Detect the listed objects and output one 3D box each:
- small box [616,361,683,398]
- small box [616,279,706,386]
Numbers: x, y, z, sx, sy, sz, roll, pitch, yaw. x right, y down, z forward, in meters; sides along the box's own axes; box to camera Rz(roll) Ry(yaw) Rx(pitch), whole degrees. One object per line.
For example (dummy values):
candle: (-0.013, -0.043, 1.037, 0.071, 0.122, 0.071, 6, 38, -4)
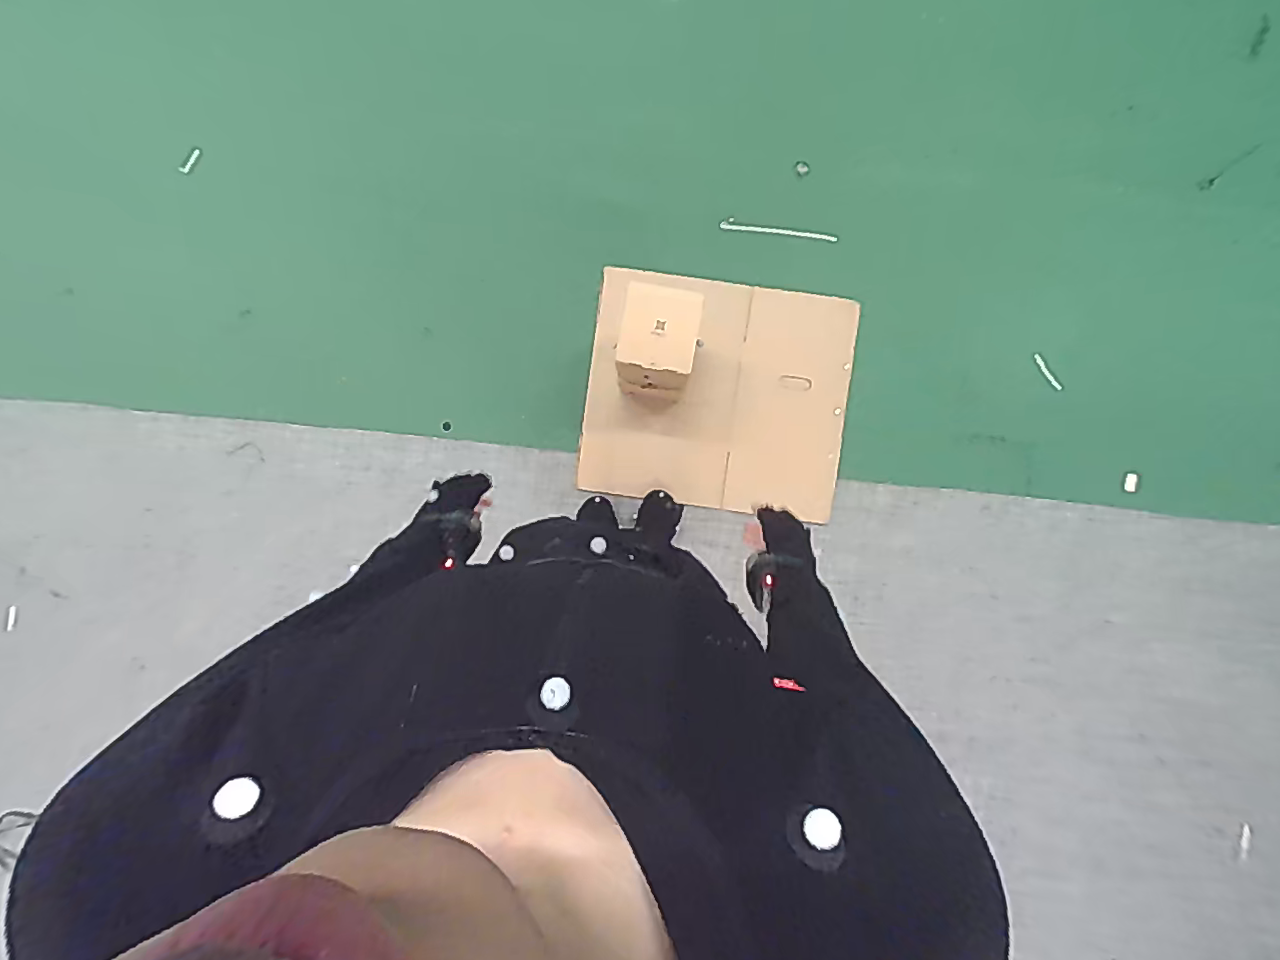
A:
small box: (0.038, -0.312, 1.370, 0.168, 0.176, 0.179, 9, 90, 1)
small box: (0.043, -0.321, 1.208, 0.168, 0.176, 0.179, 10, 91, 0)
